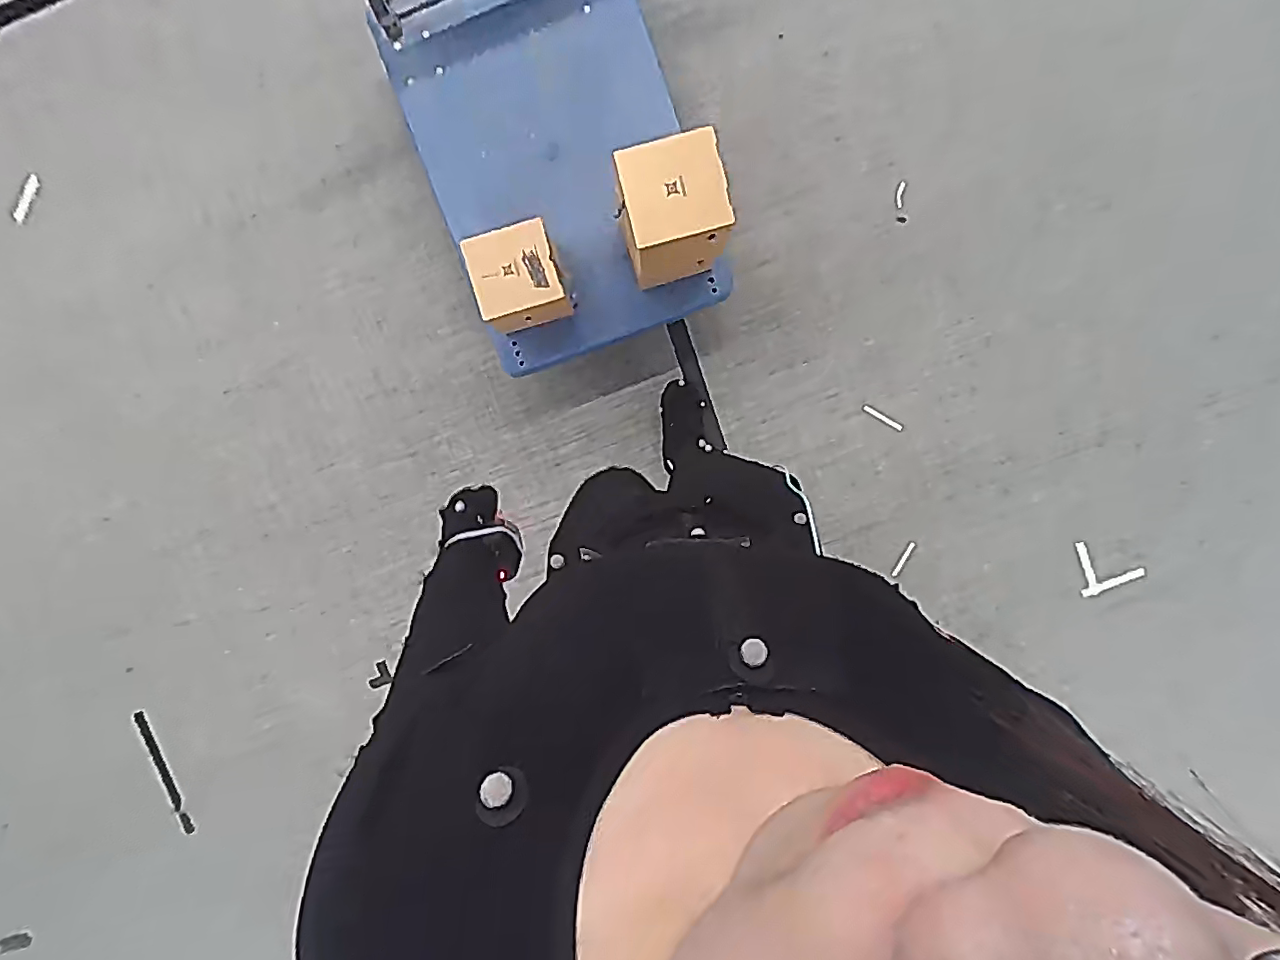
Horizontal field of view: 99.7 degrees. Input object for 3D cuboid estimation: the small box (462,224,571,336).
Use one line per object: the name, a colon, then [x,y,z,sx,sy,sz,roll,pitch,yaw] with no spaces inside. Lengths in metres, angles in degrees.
small box: [-0.255,-0.424,1.171,0.179,0.176,0.168,-16,96,3]

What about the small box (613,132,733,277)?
small box: [0.058,-0.494,0.997,0.179,0.176,0.168,-15,96,1]
